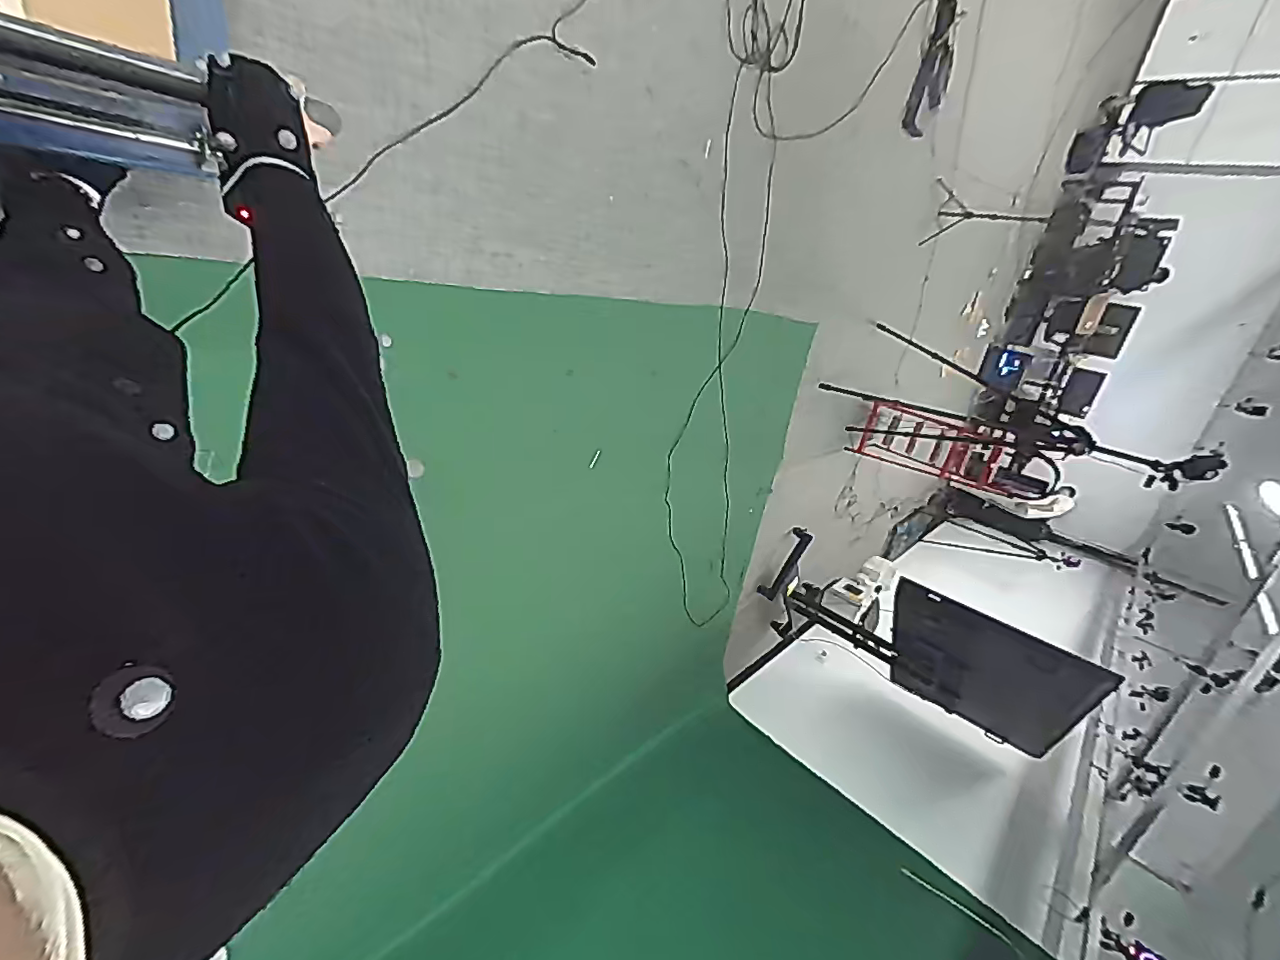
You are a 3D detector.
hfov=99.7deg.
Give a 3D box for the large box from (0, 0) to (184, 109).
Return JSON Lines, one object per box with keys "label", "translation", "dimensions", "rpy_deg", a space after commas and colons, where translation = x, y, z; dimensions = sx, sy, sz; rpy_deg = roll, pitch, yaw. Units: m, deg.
{"label": "large box", "translation": [-0.837, -0.757, 0.687], "dimensions": [0.320, 0.320, 0.408], "rpy_deg": [-14, 120, -45]}
